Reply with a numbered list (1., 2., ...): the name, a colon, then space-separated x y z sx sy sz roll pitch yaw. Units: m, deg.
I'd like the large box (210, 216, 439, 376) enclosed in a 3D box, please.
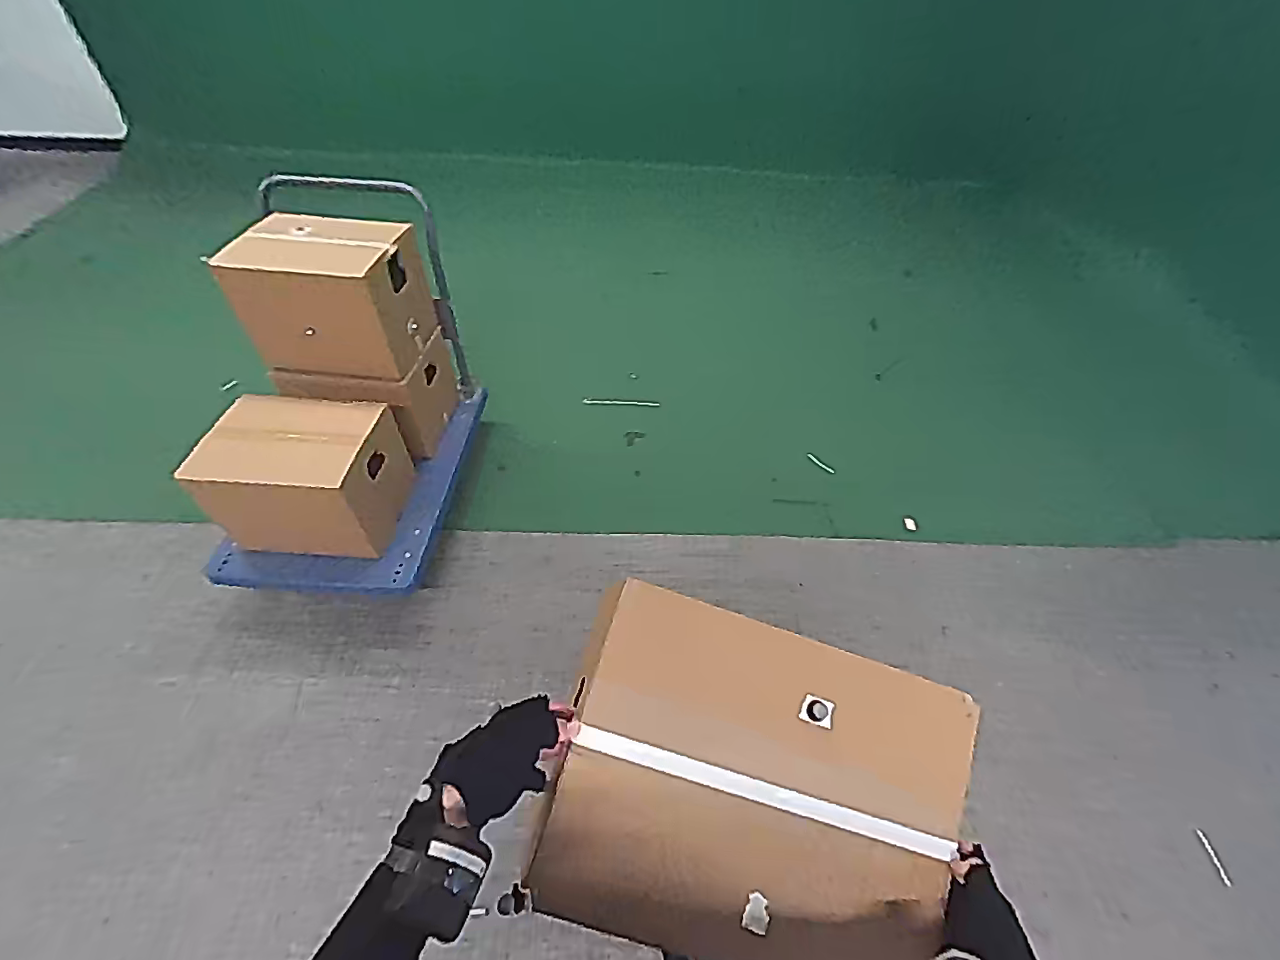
1. large box: -0.841 -0.514 1.518 0.408 0.320 0.320 5 47 4
